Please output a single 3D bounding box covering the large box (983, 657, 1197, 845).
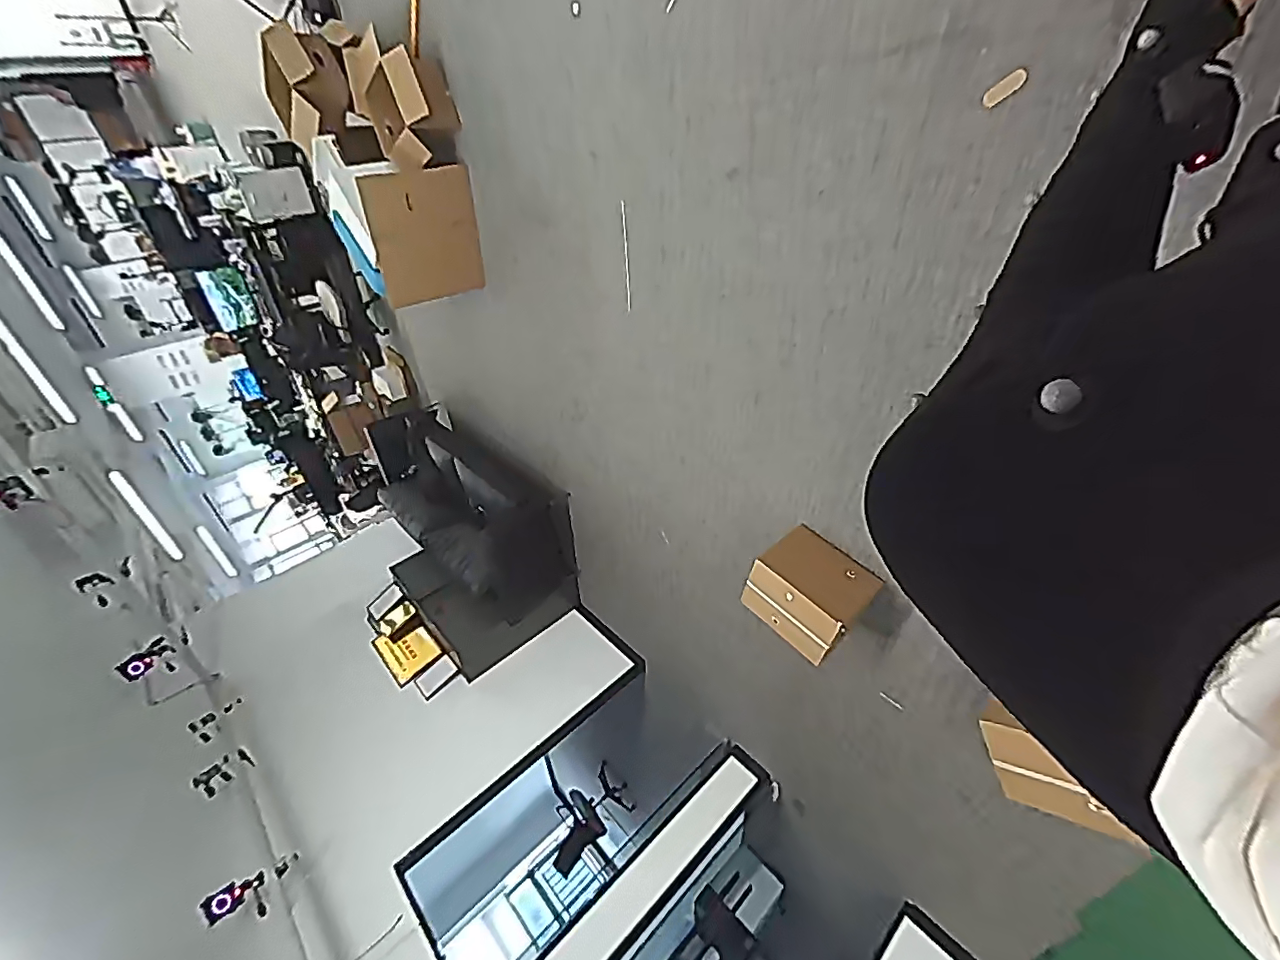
[{"bbox_3d":[1.347,0.779,1.631,0.408,0.320,0.320,-9,109,55],"label":"large box"}]
